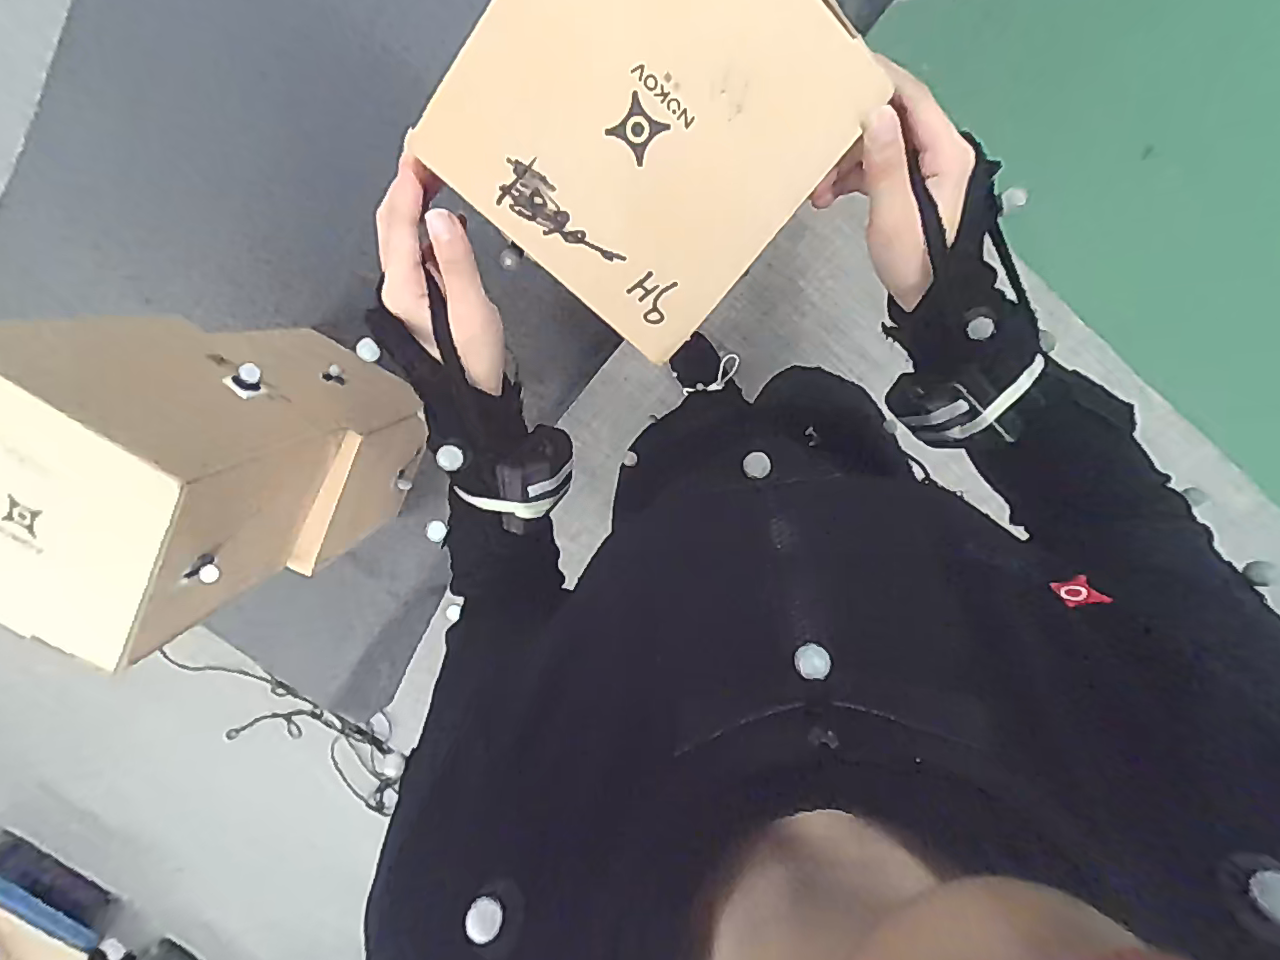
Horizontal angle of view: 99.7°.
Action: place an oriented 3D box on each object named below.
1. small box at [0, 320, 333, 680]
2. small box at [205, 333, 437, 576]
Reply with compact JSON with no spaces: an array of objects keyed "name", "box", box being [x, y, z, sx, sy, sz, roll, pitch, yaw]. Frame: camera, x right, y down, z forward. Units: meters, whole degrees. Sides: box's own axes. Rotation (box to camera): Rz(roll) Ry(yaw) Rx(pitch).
[{"name":"small box","box":[-0.372,0.000,0.403,0.168,0.176,0.179,33,107,-7]},{"name":"small box","box":[-0.348,-0.038,0.560,0.179,0.176,0.168,29,108,-5]}]
